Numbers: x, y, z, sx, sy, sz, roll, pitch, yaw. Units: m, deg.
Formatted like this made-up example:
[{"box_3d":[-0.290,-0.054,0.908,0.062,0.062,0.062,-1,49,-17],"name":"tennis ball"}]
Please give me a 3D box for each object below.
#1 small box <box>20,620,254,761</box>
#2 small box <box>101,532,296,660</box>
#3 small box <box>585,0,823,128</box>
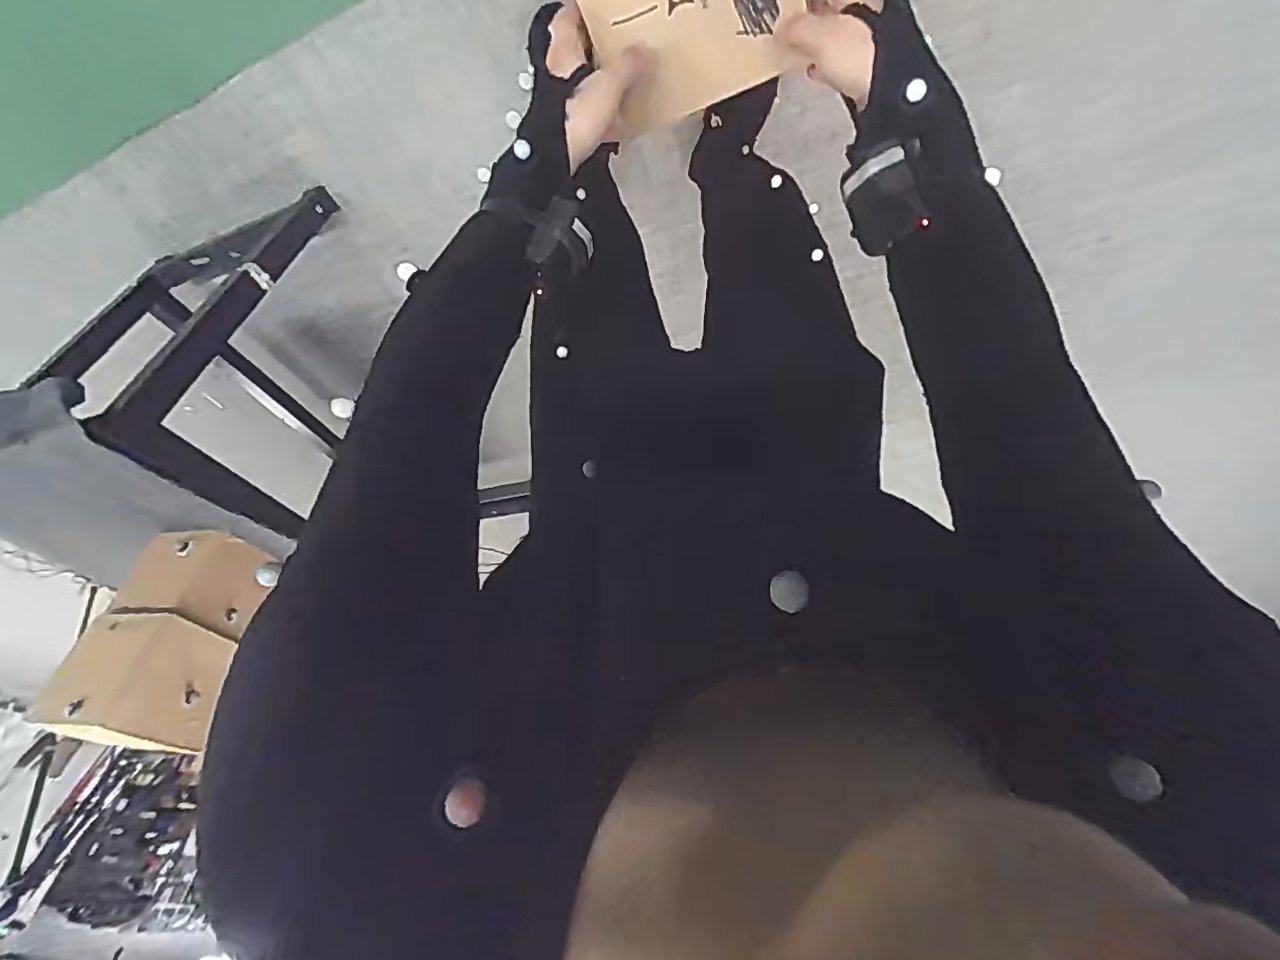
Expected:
[{"box_3d":[-0.771,0.332,0.855,0.168,0.176,0.179,-5,143,14],"name":"small box"},{"box_3d":[-0.770,0.211,0.967,0.168,0.176,0.179,-7,141,16],"name":"small box"},{"box_3d":[0.050,-0.456,0.470,0.179,0.176,0.168,-9,140,22],"name":"small box"}]
